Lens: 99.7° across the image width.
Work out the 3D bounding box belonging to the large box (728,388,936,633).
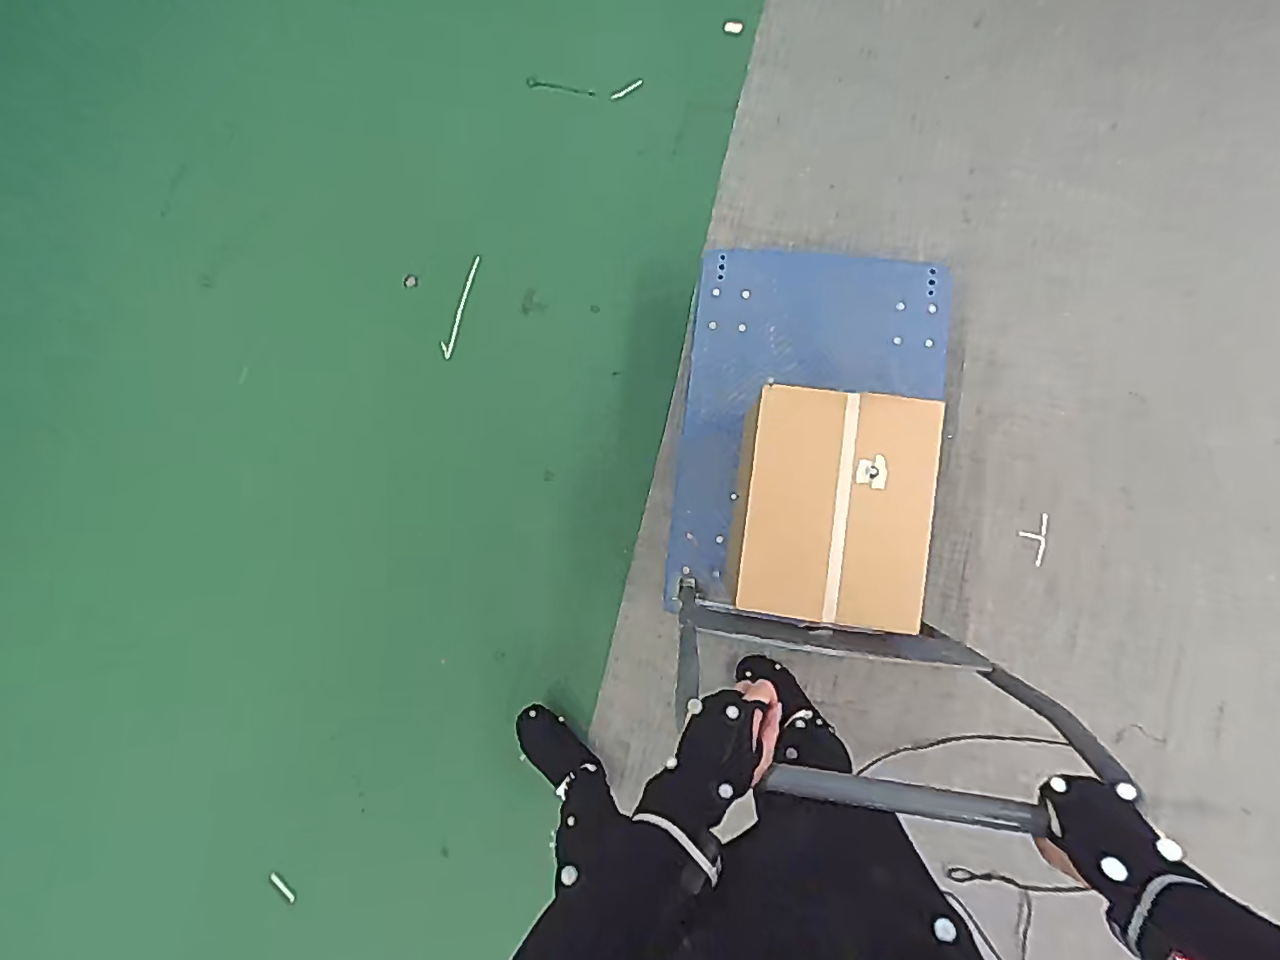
[{"bbox_3d":[0.356,0.060,1.087,0.320,0.320,0.408,7,86,5],"label":"large box"}]
